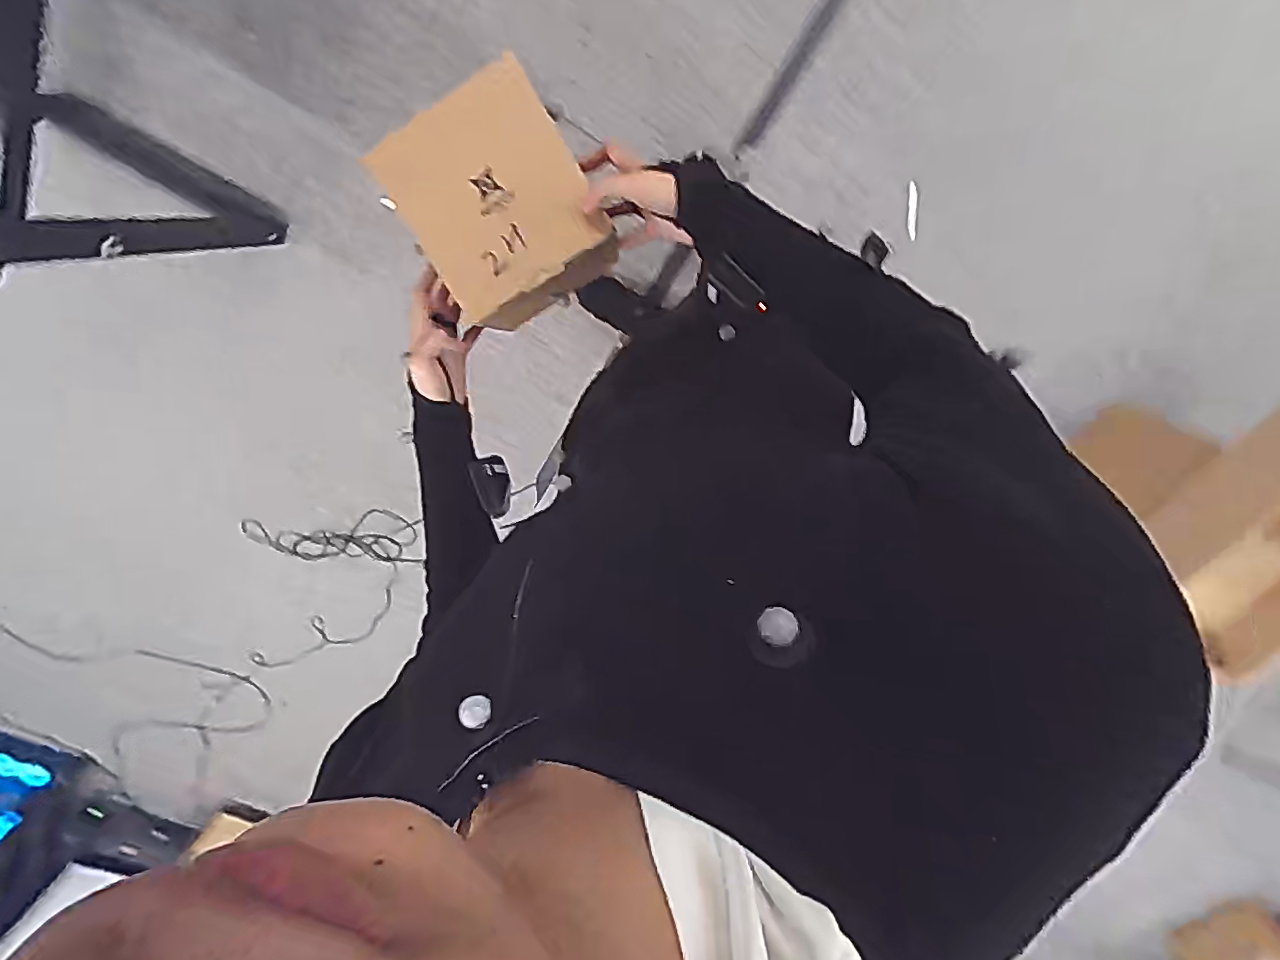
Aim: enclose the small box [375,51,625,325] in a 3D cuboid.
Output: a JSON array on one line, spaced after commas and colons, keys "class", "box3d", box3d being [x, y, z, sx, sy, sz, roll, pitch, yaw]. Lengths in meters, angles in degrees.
[{"class": "small box", "box3d": [-0.129, -0.281, 0.572, 0.168, 0.176, 0.179, -31, 102, 7]}]
